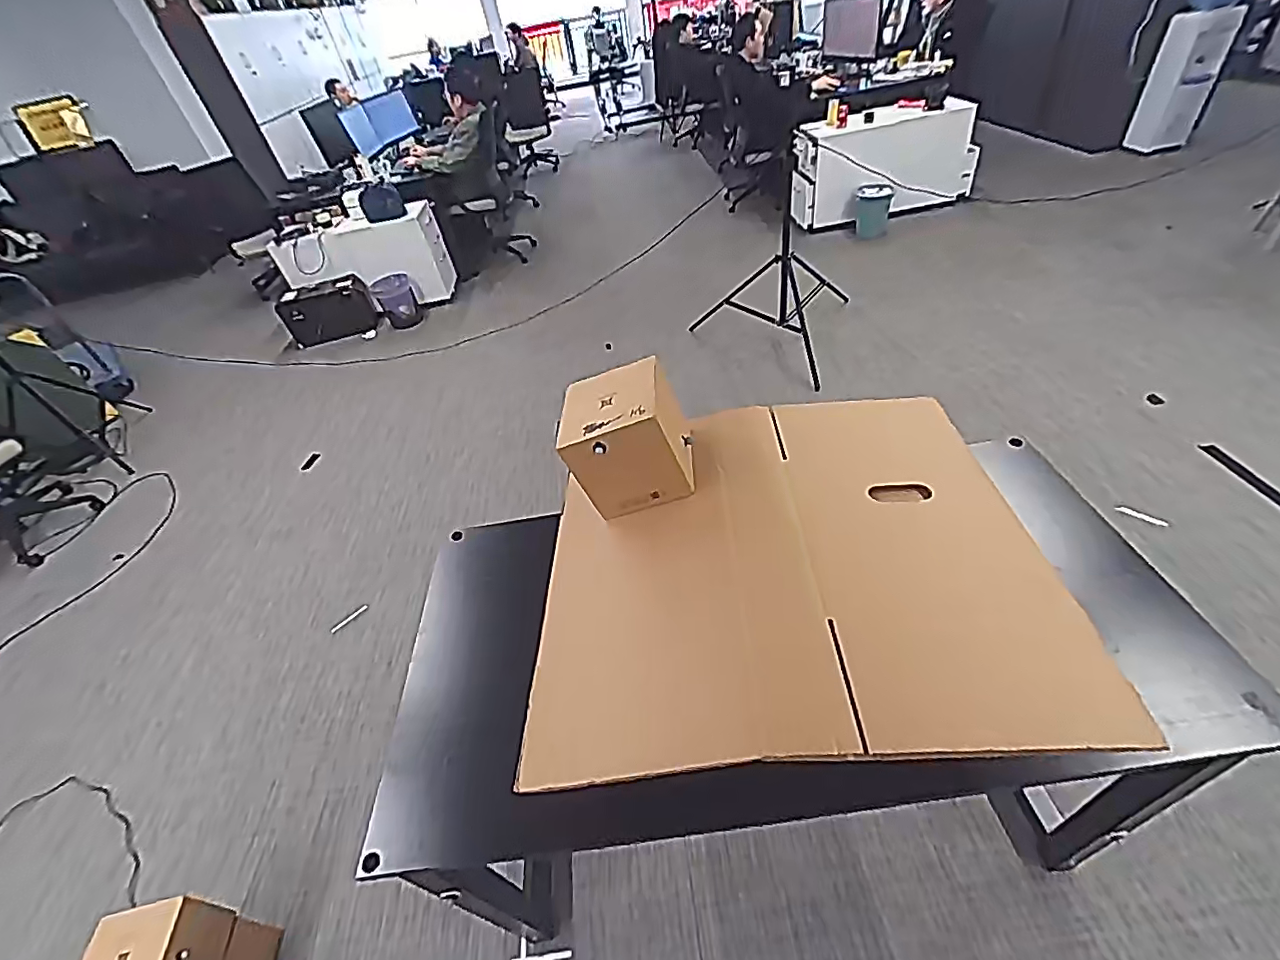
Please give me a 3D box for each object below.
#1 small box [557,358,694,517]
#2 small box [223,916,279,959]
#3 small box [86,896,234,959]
[{"bbox_3d":[-0.016,-0.068,0.899,0.168,0.176,0.179,-17,39,17],"label":"small box"},{"bbox_3d":[-0.929,1.085,1.172,0.168,0.176,0.179,-12,43,-1],"label":"small box"},{"bbox_3d":[-0.956,0.963,1.067,0.168,0.176,0.179,-14,41,-3],"label":"small box"}]
